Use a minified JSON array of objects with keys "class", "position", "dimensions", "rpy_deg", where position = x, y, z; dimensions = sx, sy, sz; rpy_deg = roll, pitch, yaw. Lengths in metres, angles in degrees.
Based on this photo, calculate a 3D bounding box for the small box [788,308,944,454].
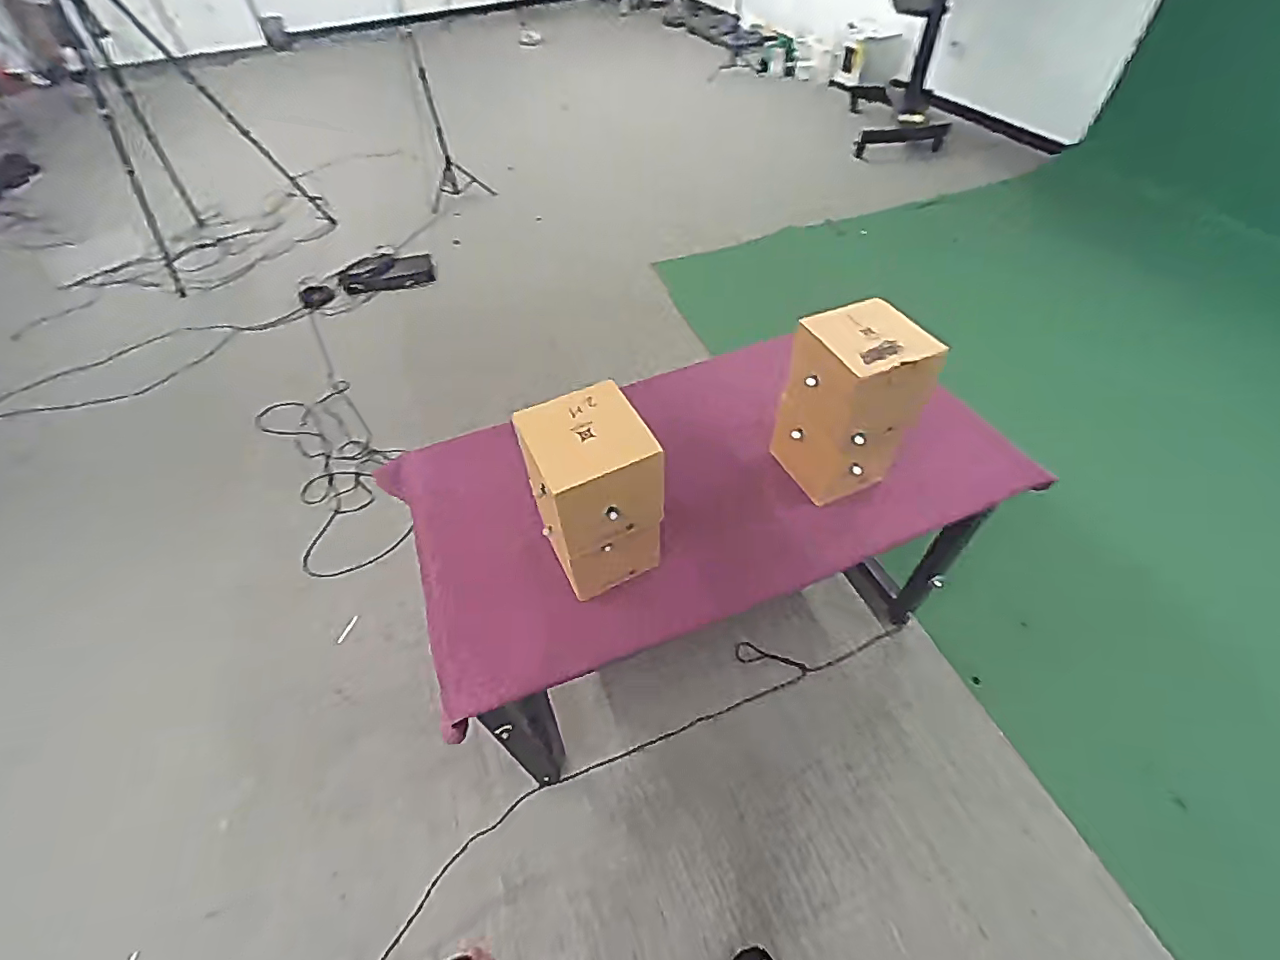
[{"class":"small box","position":[0.378,-0.165,0.941],"dimensions":[0.168,0.176,0.179],"rpy_deg":[-18,49,-10]}]

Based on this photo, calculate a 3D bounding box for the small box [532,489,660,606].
[{"class":"small box","position":[-0.076,0.093,0.971],"dimensions":[0.168,0.176,0.179],"rpy_deg":[-24,52,-14]}]

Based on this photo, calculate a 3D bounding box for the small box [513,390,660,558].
[{"class":"small box","position":[-0.076,-0.002,0.834],"dimensions":[0.168,0.176,0.179],"rpy_deg":[-22,52,-15]}]

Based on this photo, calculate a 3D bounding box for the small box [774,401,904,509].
[{"class":"small box","position":[0.386,-0.064,1.071],"dimensions":[0.168,0.176,0.179],"rpy_deg":[-20,50,-12]}]
